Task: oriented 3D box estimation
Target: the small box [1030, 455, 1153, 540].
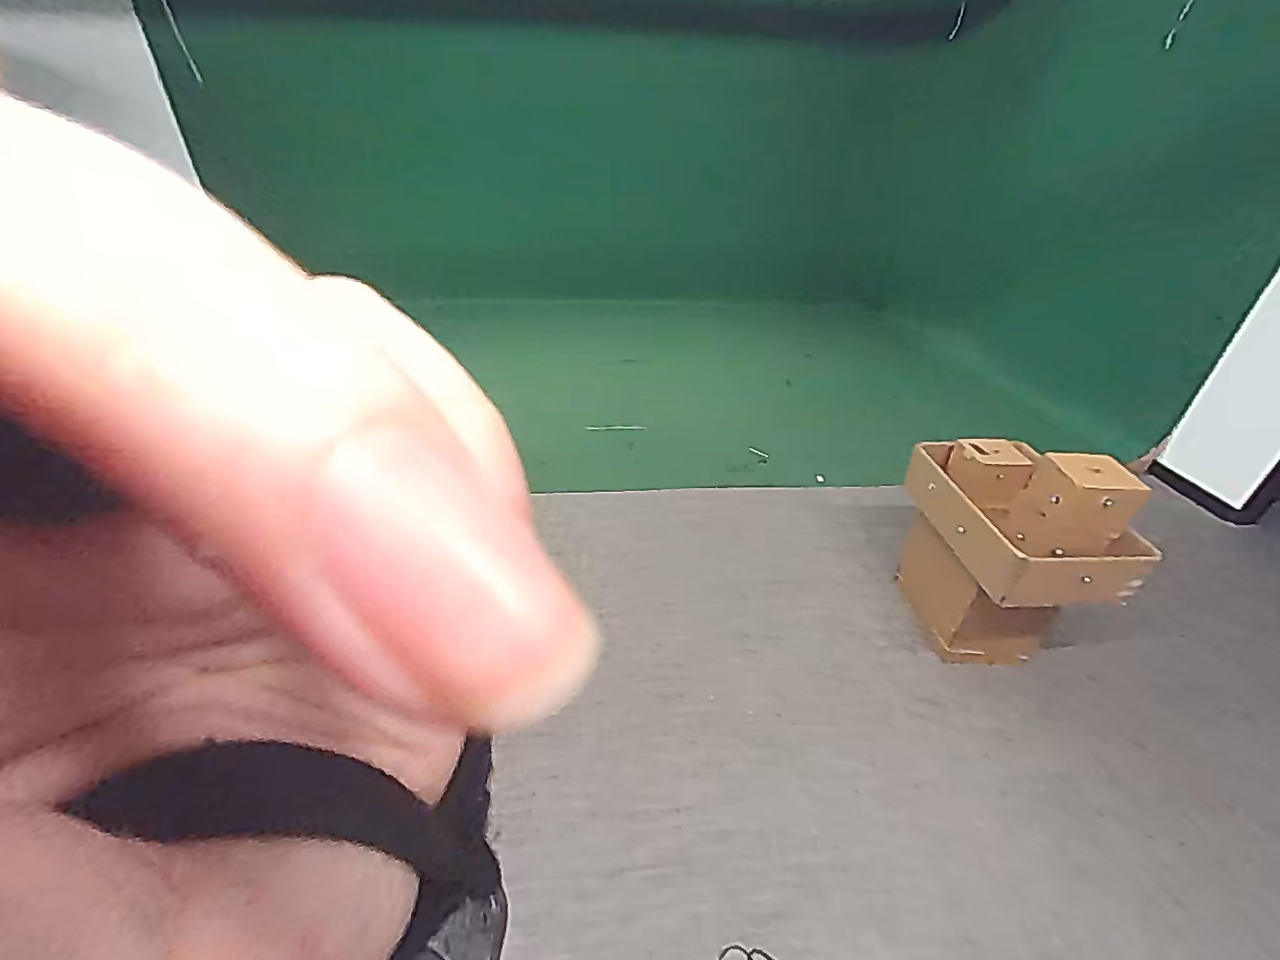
[{"bbox_3d":[1.197,0.047,1.456,0.179,0.176,0.168,3,35,2],"label":"small box"}]
